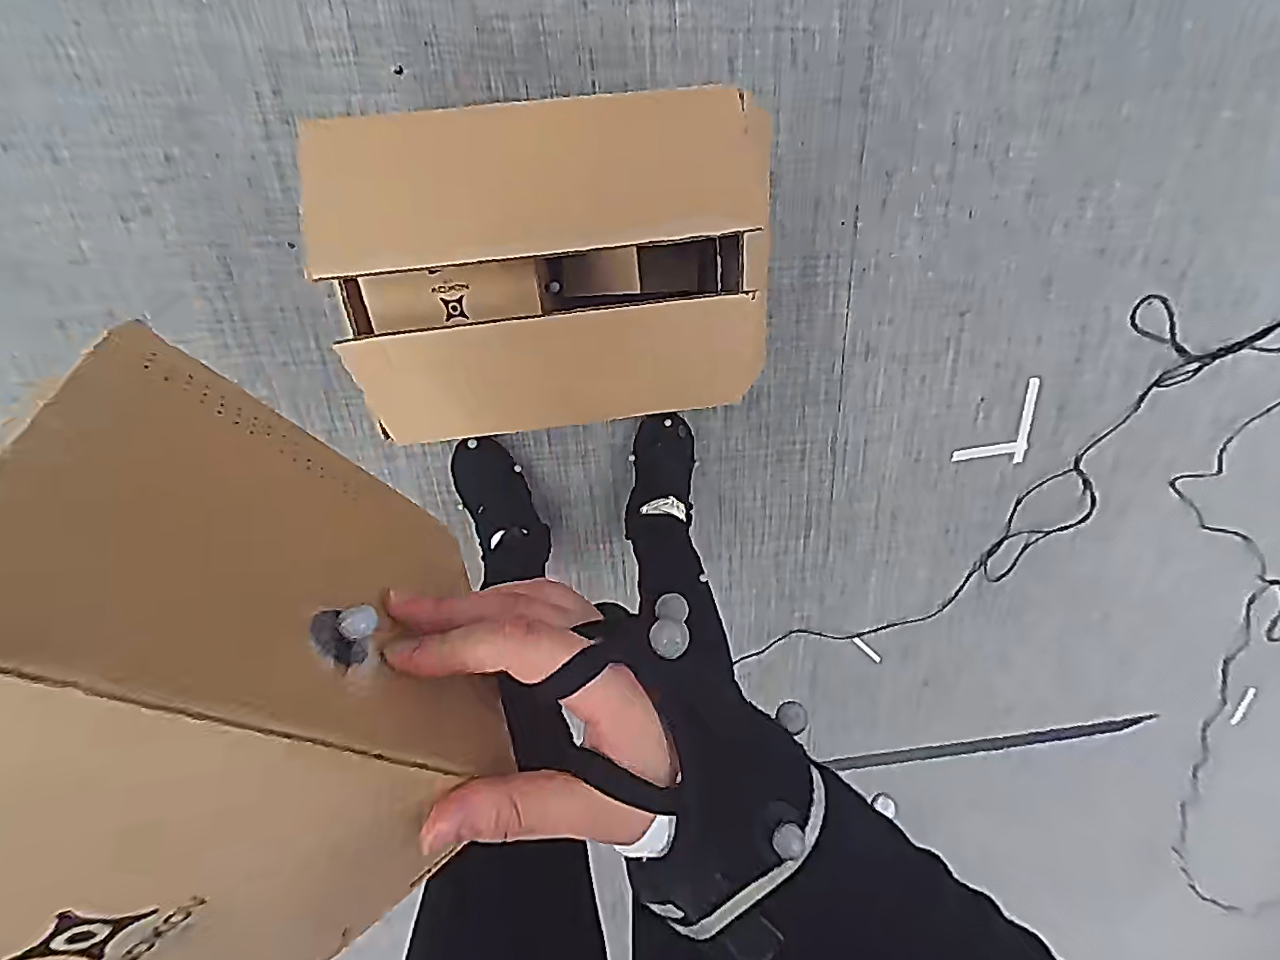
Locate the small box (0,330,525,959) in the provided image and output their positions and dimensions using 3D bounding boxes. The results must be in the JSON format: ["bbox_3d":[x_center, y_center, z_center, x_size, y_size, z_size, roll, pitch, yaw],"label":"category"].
[{"bbox_3d":[-0.176,0.077,0.200,0.168,0.176,0.179,-41,132,2],"label":"small box"}]
